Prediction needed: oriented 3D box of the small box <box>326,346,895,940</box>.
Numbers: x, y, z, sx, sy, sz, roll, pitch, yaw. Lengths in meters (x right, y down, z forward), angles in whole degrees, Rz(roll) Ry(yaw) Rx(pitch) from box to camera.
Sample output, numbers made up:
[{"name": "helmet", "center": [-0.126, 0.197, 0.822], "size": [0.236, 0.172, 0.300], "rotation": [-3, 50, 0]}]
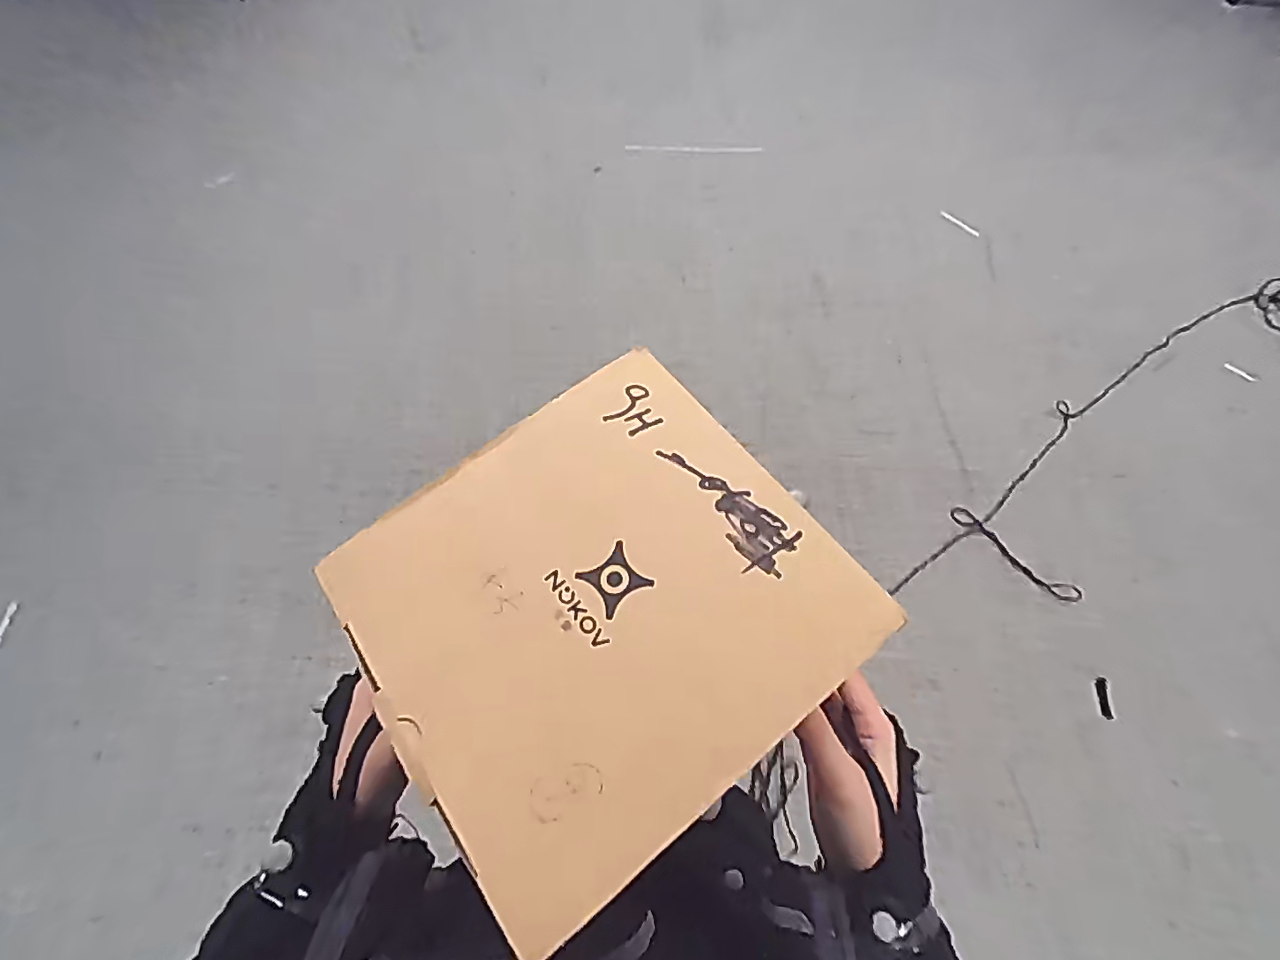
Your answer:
[{"name": "small box", "center": [-0.012, 0.073, 0.288], "size": [0.179, 0.176, 0.168], "rotation": [-36, 69, -11]}]
